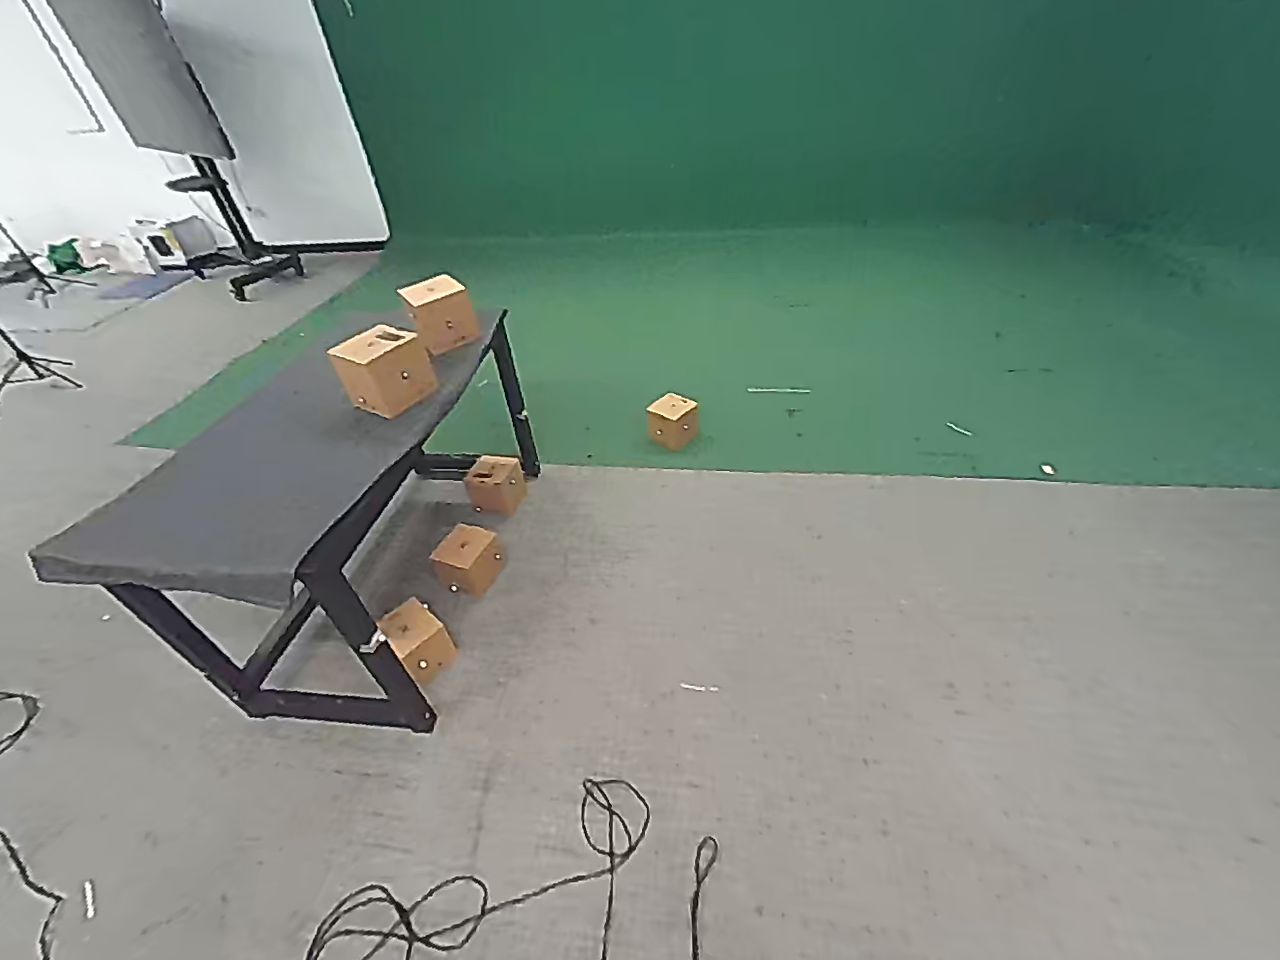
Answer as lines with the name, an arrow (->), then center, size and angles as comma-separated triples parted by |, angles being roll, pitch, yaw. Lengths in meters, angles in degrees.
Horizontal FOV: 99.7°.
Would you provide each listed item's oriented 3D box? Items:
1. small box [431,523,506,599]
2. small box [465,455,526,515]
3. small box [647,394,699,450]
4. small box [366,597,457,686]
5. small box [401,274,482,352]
small box -> -0.591, 0.283, 1.896 | 0.168, 0.176, 0.179 | 11, 45, 19
small box -> -0.580, 0.021, 2.201 | 0.168, 0.176, 0.179 | 6, 41, 12
small box -> 0.156, -0.260, 2.461 | 0.168, 0.176, 0.179 | 28, 51, 33
small box -> -0.690, 0.500, 1.653 | 0.179, 0.176, 0.168 | 27, 50, 32
small box -> -0.625, -0.527, 1.718 | 0.168, 0.176, 0.179 | -30, 46, -23
